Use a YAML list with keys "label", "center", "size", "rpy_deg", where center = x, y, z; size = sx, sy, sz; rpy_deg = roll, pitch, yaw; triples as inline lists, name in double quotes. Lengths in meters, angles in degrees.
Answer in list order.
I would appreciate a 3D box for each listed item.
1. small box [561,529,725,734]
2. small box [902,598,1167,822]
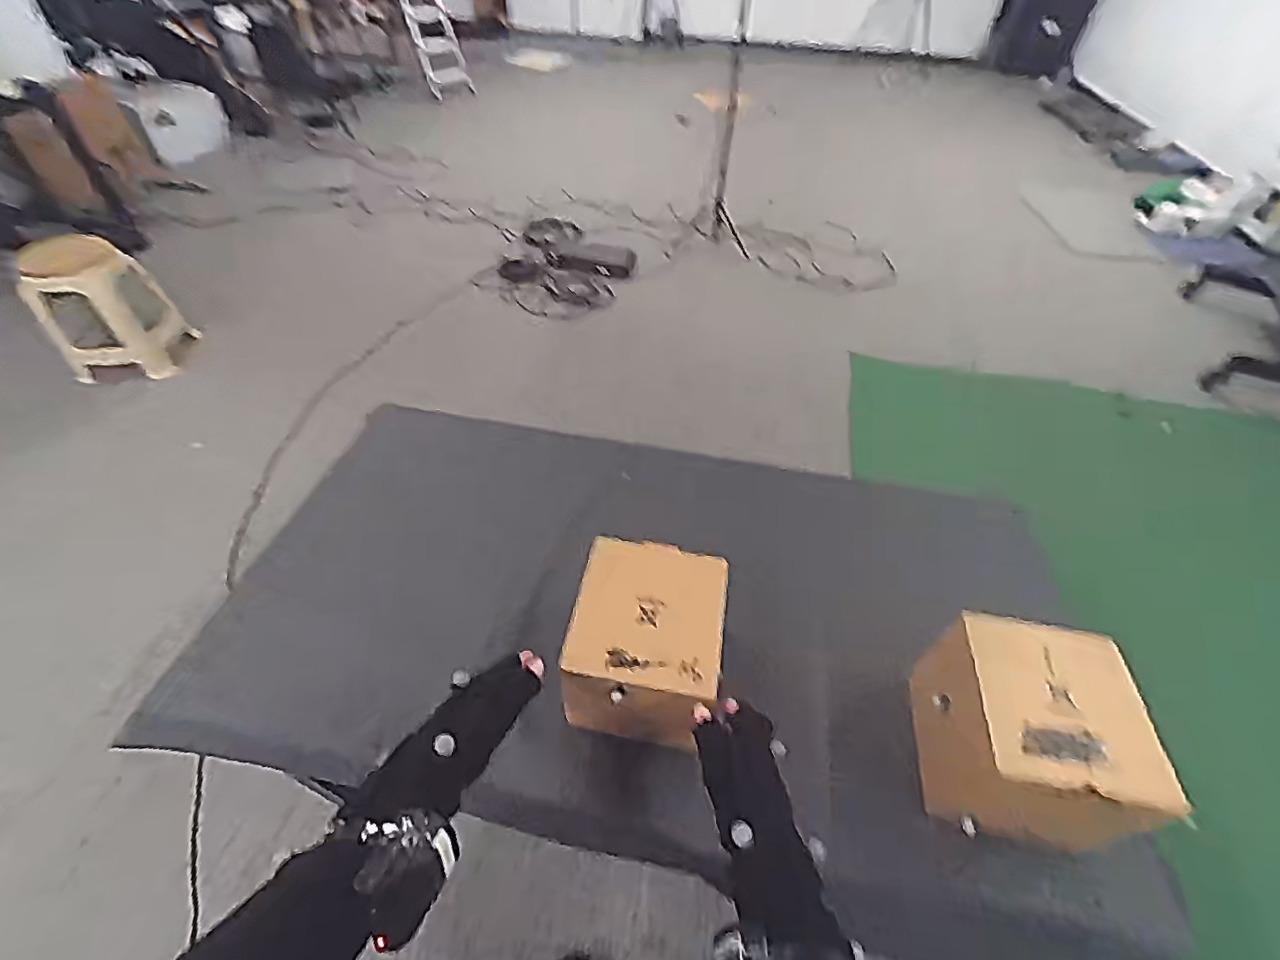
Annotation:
- label: "small box"
  center: [0.006, 0.190, 0.676]
  size: [0.168, 0.176, 0.179]
  rpy_deg: [9, 49, 5]
- label: "small box"
  center: [0.423, 0.266, 0.621]
  size: [0.168, 0.176, 0.179]
  rpy_deg: [9, 47, 7]
